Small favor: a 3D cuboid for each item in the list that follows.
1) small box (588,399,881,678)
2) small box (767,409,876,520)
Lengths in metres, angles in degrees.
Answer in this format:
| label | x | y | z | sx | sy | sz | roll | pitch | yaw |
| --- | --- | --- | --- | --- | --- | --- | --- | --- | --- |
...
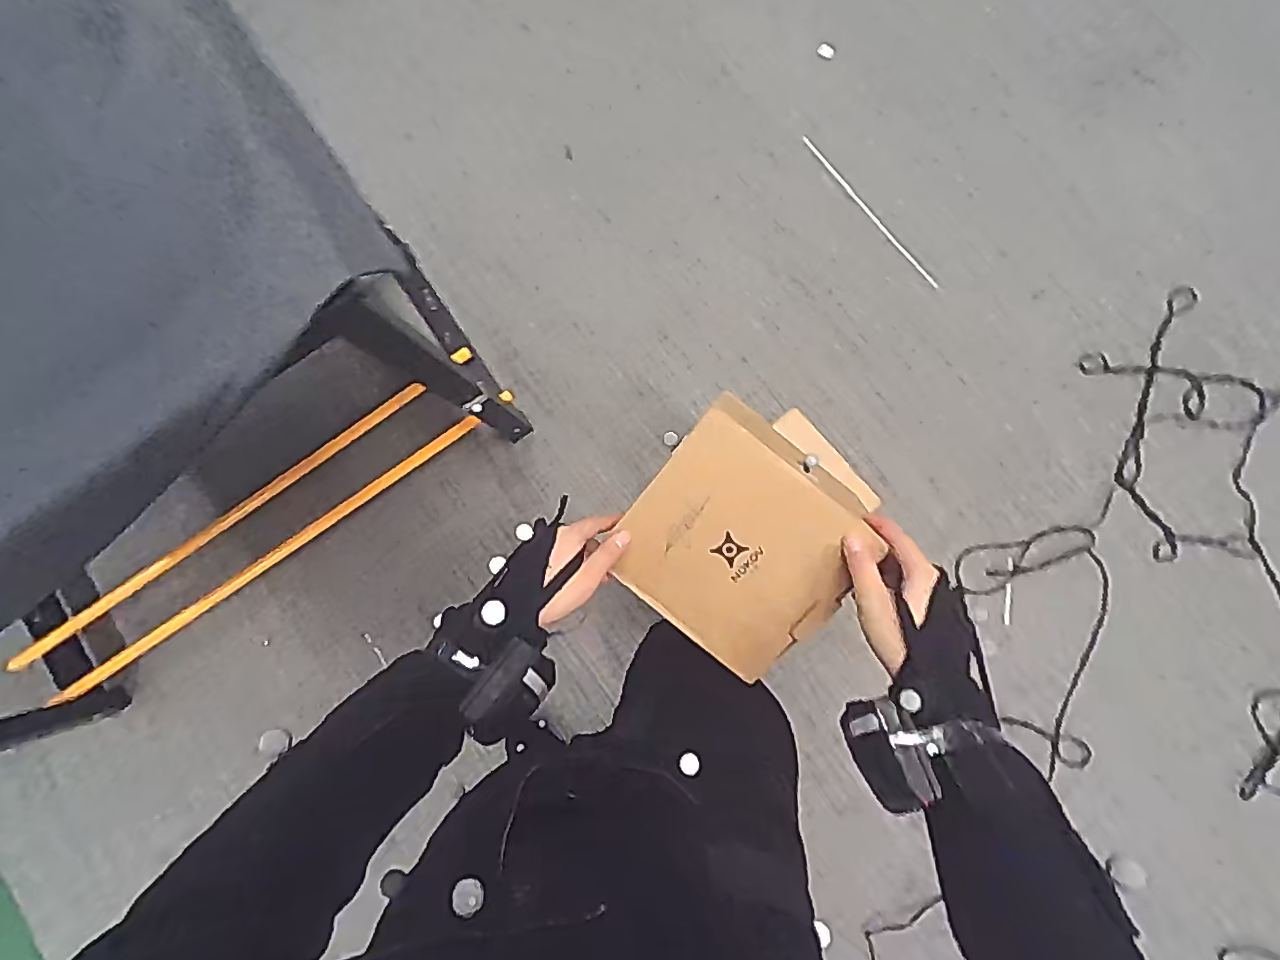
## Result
| label | x | y | z | sx | sy | sz | roll | pitch | yaw |
| --- | --- | --- | --- | --- | --- | --- | --- | --- | --- |
| small box | 0.085 | 0.037 | 0.508 | 0.179 | 0.176 | 0.168 | 38 | 107 | 1 |
| small box | 0.206 | 0.024 | 0.809 | 0.168 | 0.176 | 0.179 | -39 | 84 | -3 |
